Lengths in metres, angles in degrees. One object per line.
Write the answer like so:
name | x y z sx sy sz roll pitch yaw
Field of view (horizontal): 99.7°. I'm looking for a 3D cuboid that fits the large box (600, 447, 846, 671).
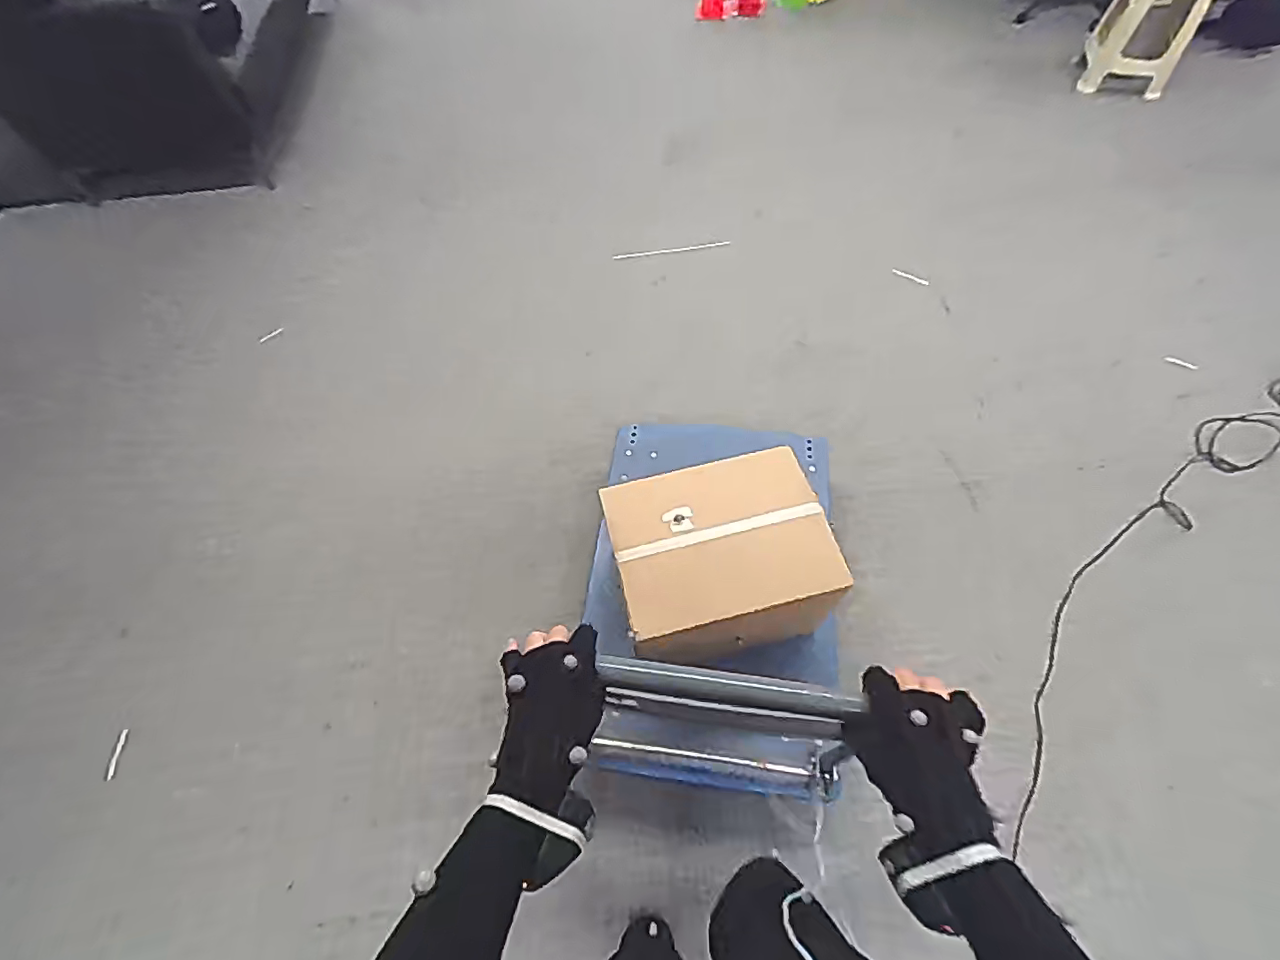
large box | 0.157 0.180 1.163 0.408 0.320 0.320 -15 59 -4
